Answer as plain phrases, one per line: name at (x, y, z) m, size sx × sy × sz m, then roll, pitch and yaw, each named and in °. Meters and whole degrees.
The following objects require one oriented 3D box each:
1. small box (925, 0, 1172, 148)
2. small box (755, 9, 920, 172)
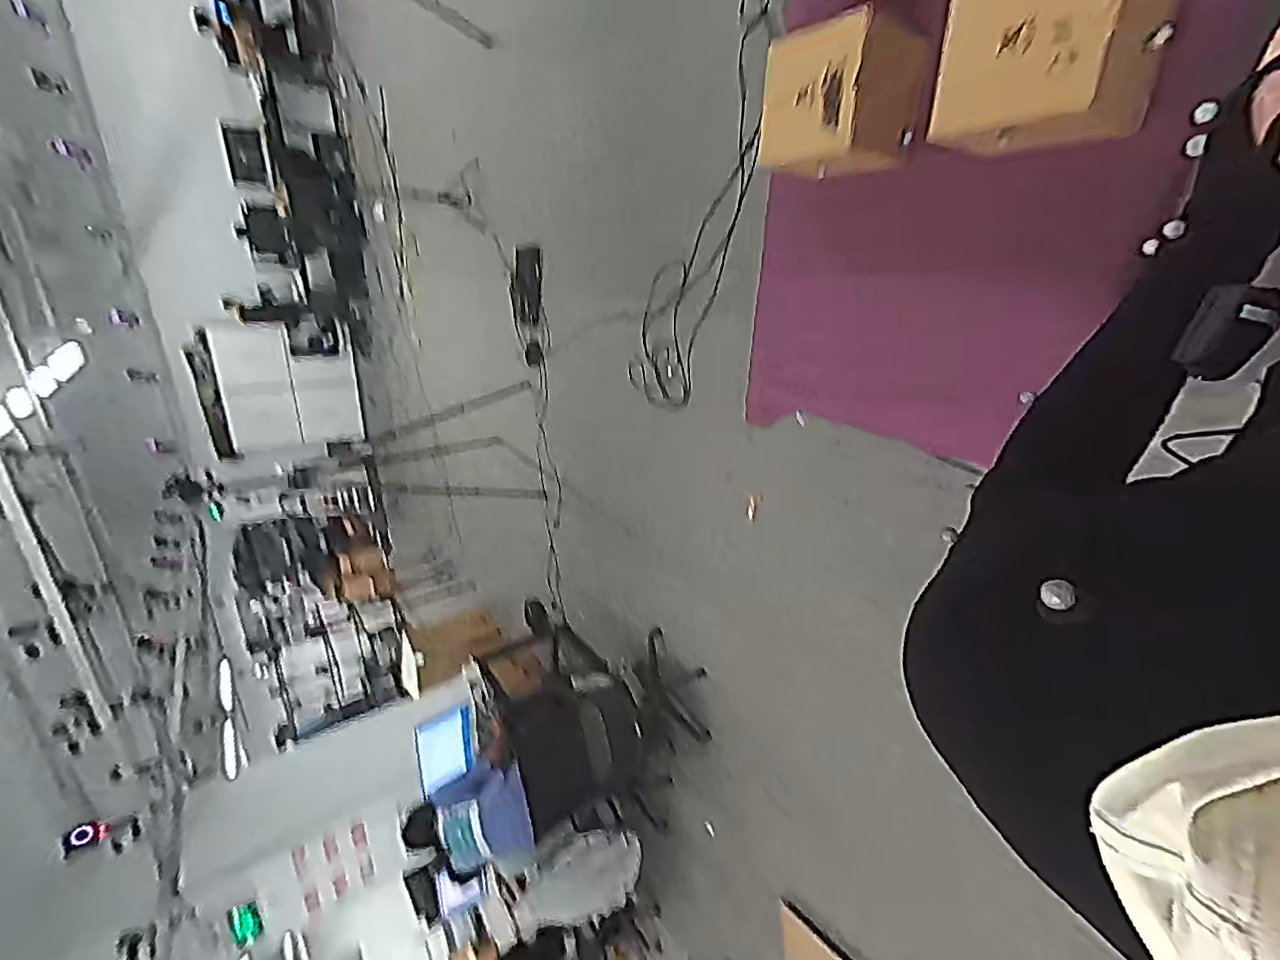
small box at (0.482, -0.512, 0.645) m, size 0.179 × 0.176 × 0.168 m, roll 26°, pitch 122°, yaw 49°
small box at (0.311, -0.597, 0.856) m, size 0.179 × 0.176 × 0.168 m, roll 26°, pitch 122°, yaw 48°
